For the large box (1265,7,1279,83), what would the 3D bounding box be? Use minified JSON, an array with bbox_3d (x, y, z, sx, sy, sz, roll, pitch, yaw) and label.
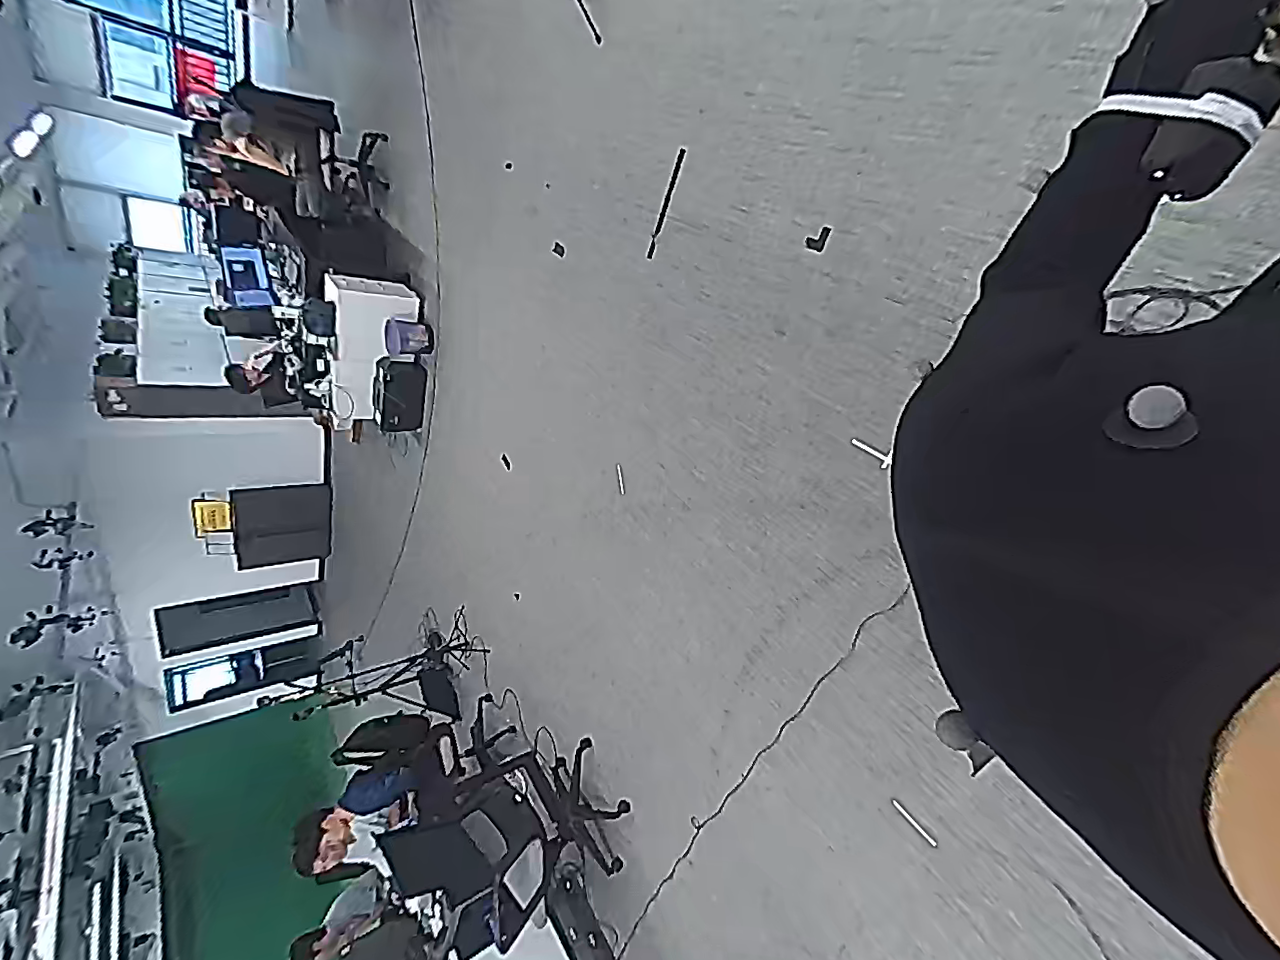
[{"bbox_3d":[0.648,-0.360,0.233,0.408,0.320,0.320,35,131,40],"label":"large box"}]
